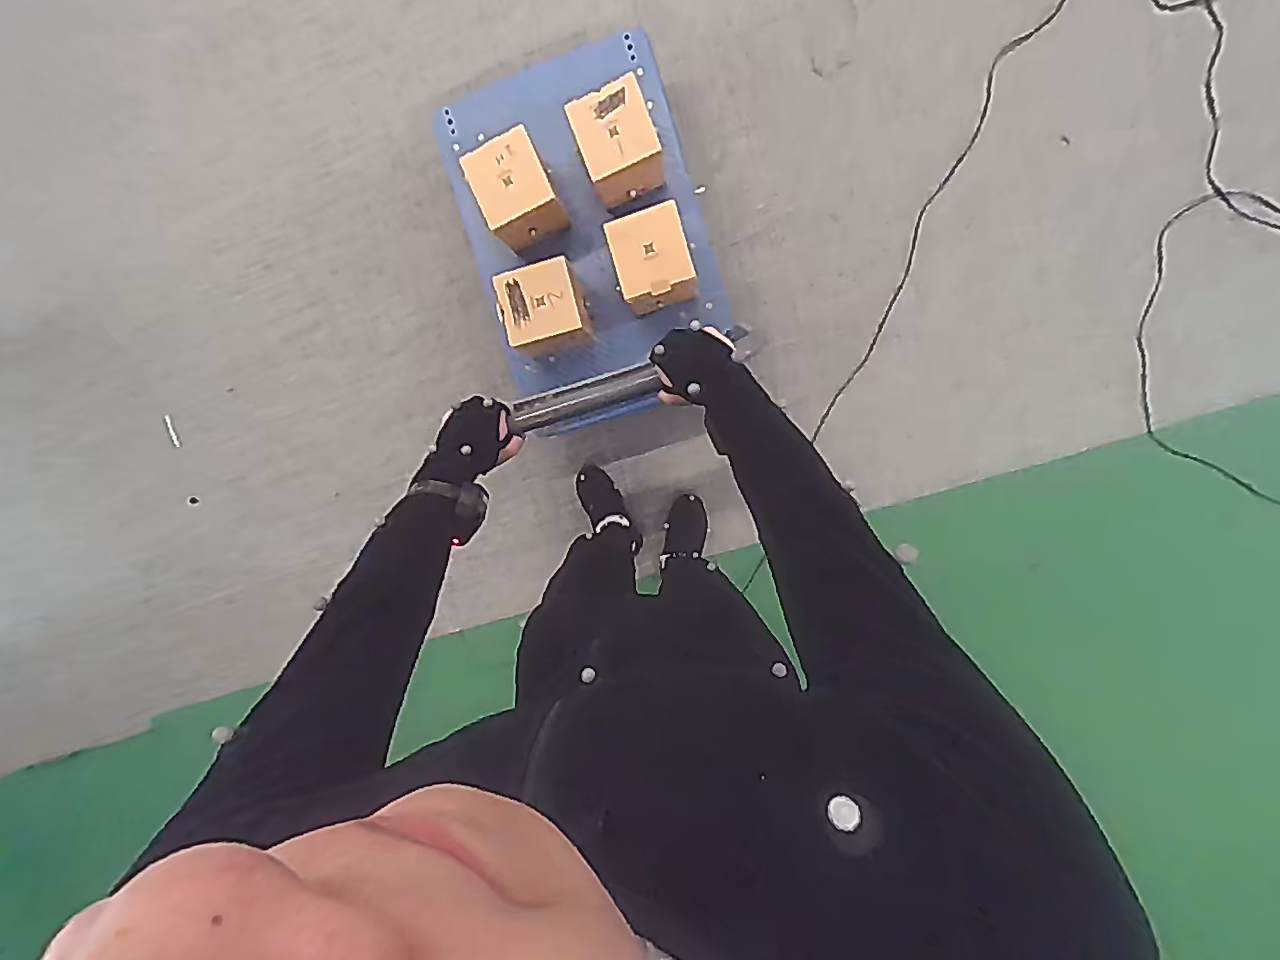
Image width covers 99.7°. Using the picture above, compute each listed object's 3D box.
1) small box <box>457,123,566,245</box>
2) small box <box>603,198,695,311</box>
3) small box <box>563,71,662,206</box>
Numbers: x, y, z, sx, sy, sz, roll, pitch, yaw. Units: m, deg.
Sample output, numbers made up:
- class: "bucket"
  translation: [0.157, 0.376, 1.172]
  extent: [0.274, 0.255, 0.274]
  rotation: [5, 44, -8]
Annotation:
- class: "small box"
  translation: [-0.292, -0.678, 1.271]
  extent: [0.168, 0.176, 0.179]
  rotation: [-24, 94, 7]
- class: "small box"
  translation: [0.025, -0.515, 1.260]
  extent: [0.168, 0.176, 0.179]
  rotation: [-17, 95, 7]
- class: "small box"
  translation: [-0.056, -0.770, 1.238]
  extent: [0.168, 0.176, 0.179]
  rotation: [-21, 95, 8]
